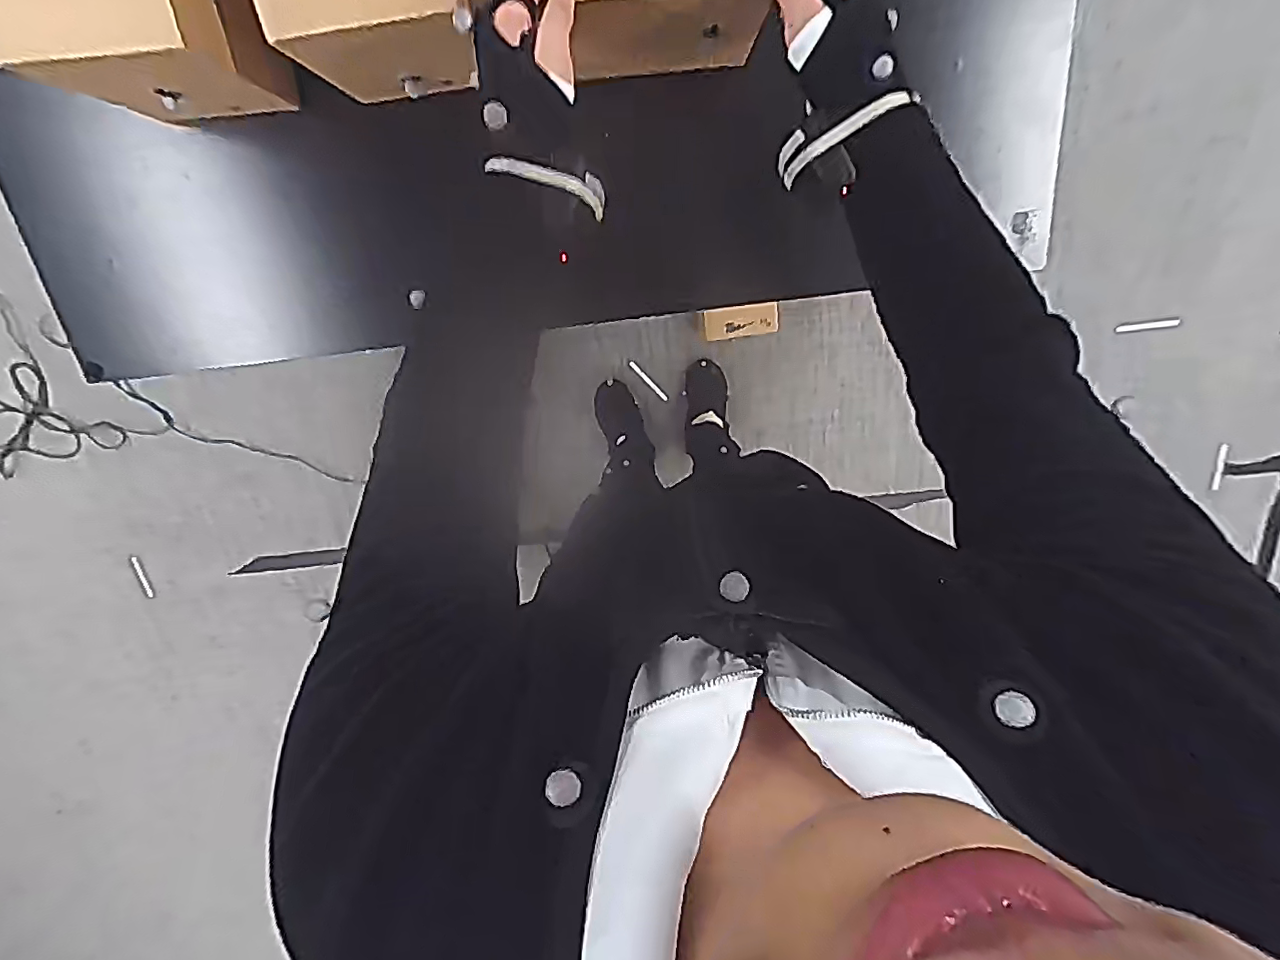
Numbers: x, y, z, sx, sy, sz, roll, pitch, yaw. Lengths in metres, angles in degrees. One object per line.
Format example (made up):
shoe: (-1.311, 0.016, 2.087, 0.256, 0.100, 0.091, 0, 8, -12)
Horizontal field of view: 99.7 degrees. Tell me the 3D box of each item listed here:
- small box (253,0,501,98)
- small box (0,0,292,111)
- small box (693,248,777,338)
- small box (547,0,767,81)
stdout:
small box: (-0.238, -0.481, 0.487, 0.168, 0.176, 0.179, -7, 110, 3)
small box: (-0.461, -0.461, 0.495, 0.168, 0.176, 0.179, -4, 109, 1)
small box: (0.218, -0.437, 1.273, 0.168, 0.176, 0.179, -7, 109, 4)
small box: (0.012, -0.461, 0.445, 0.179, 0.176, 0.168, -5, 108, 4)
